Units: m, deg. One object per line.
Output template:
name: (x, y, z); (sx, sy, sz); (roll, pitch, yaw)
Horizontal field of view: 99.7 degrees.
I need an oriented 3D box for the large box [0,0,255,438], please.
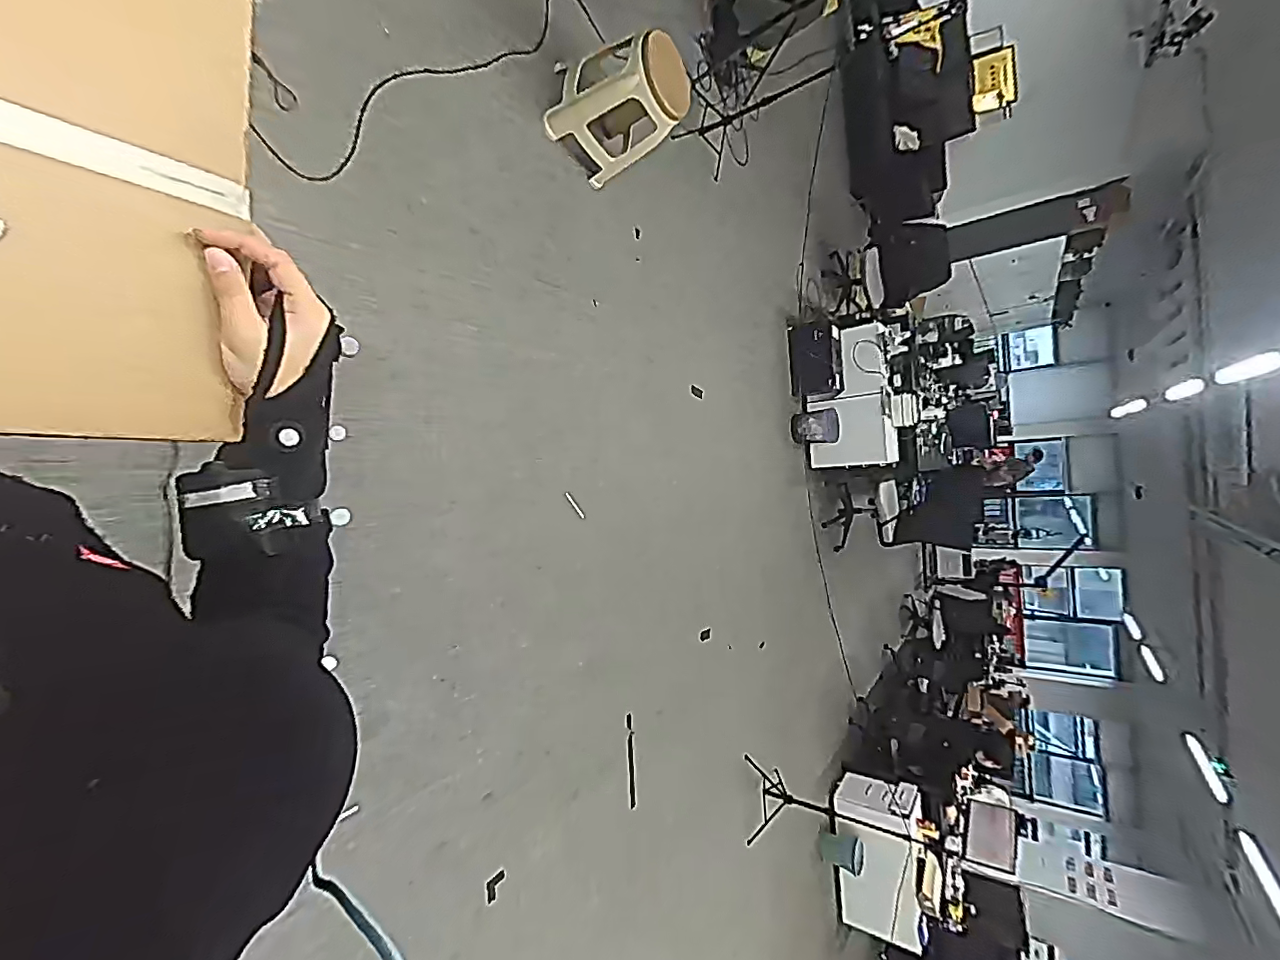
large box: (-0.504, -0.188, 0.299); (0.408, 0.320, 0.320); (-2, 97, -54)
